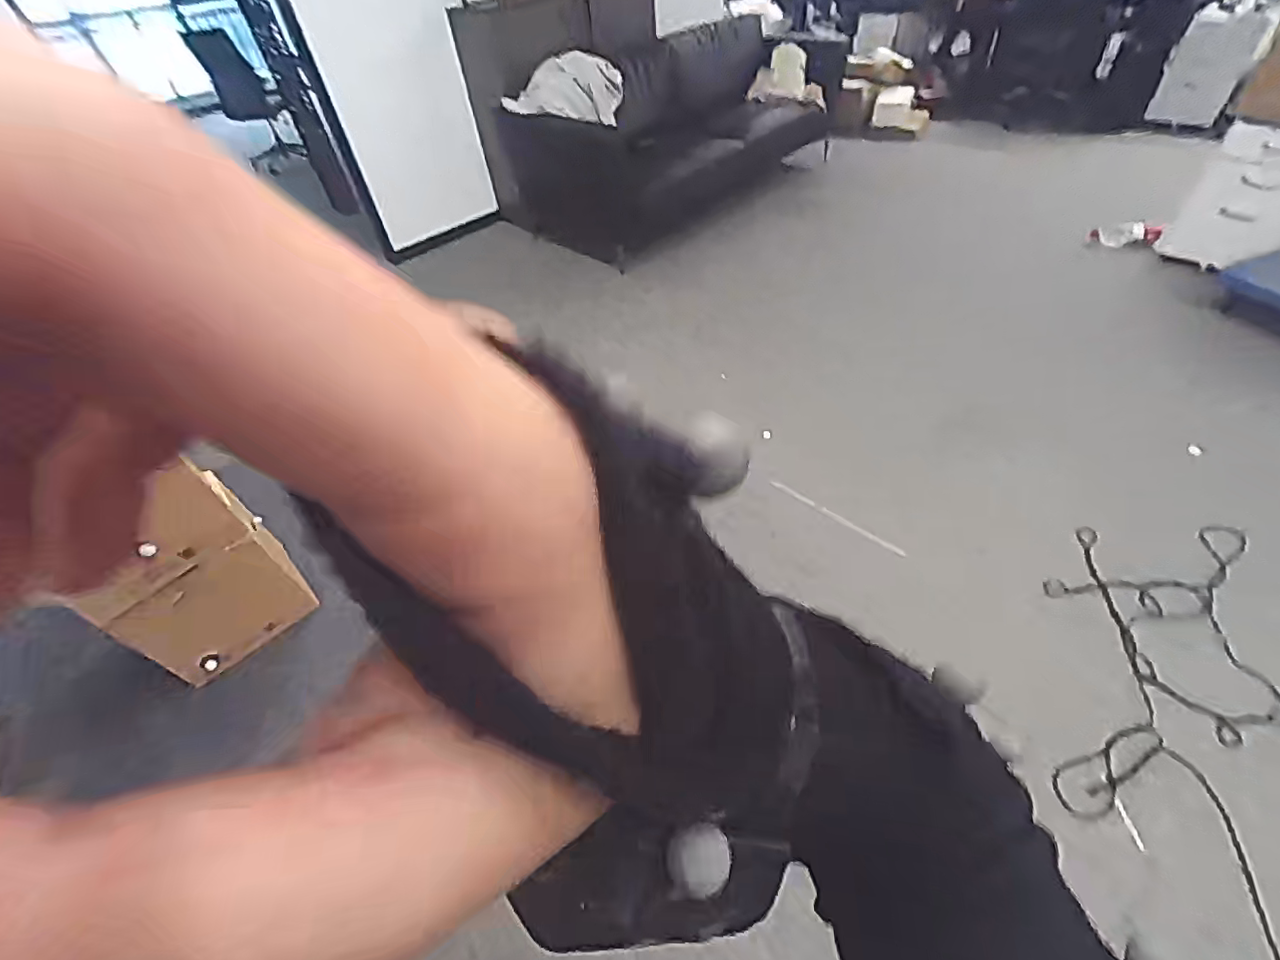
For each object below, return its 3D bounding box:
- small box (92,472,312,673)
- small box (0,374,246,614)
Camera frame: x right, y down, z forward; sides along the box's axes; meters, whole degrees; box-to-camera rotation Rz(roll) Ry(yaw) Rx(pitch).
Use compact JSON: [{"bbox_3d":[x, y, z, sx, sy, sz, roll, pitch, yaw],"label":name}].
[{"bbox_3d":[-0.578,0.127,0.717,0.179,0.176,0.168,33,57,33],"label":"small box"},{"bbox_3d":[-0.593,0.015,0.597,0.179,0.176,0.168,28,55,29],"label":"small box"}]
